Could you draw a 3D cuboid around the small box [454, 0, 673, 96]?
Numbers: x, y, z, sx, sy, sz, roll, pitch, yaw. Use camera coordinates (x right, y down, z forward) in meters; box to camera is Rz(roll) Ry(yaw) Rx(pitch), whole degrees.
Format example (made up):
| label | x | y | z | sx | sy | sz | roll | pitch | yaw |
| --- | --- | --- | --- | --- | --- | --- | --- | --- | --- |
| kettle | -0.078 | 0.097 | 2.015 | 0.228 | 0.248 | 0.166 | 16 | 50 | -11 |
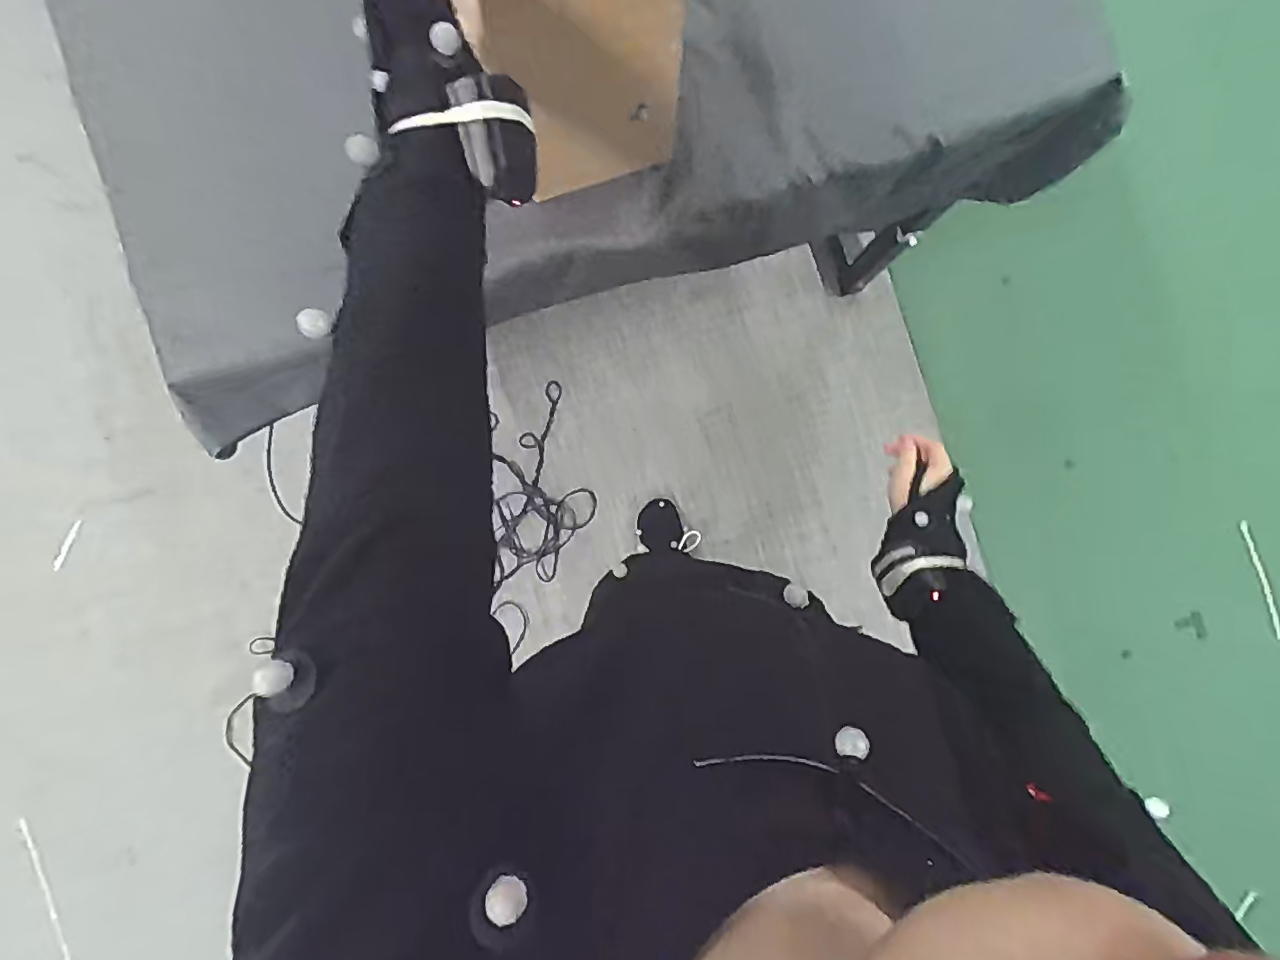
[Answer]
| label | x | y | z | sx | sy | sz | roll | pitch | yaw |
| --- | --- | --- | --- | --- | --- | --- | --- | --- | --- |
| small box | -0.075 | -0.441 | 0.410 | 0.179 | 0.176 | 0.168 | -18 | 88 | 0 |
